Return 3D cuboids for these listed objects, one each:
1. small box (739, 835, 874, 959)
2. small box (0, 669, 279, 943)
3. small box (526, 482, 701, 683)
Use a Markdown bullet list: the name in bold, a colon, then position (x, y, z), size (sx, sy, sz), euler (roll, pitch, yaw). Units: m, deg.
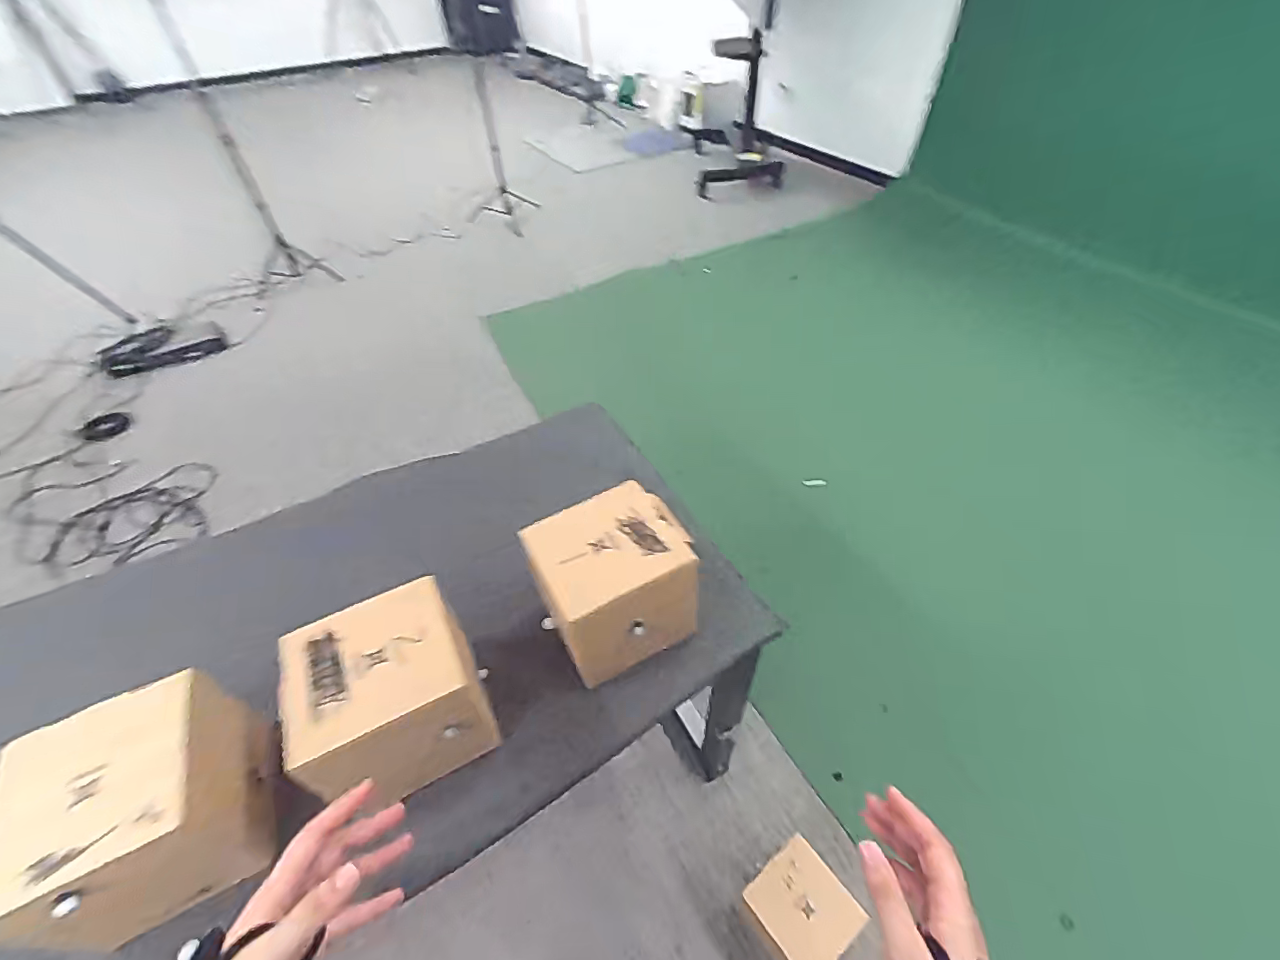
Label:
- **small box**: position (0.317, 0.847, 1.062), size (0.168, 0.176, 0.179), euler (-30, 53, -24)
- **small box**: position (-0.516, 0.345, 0.576), size (0.168, 0.176, 0.179), euler (-23, 48, -16)
- **small box**: position (-0.032, 0.139, 0.737), size (0.179, 0.176, 0.168), euler (-24, 46, -16)
